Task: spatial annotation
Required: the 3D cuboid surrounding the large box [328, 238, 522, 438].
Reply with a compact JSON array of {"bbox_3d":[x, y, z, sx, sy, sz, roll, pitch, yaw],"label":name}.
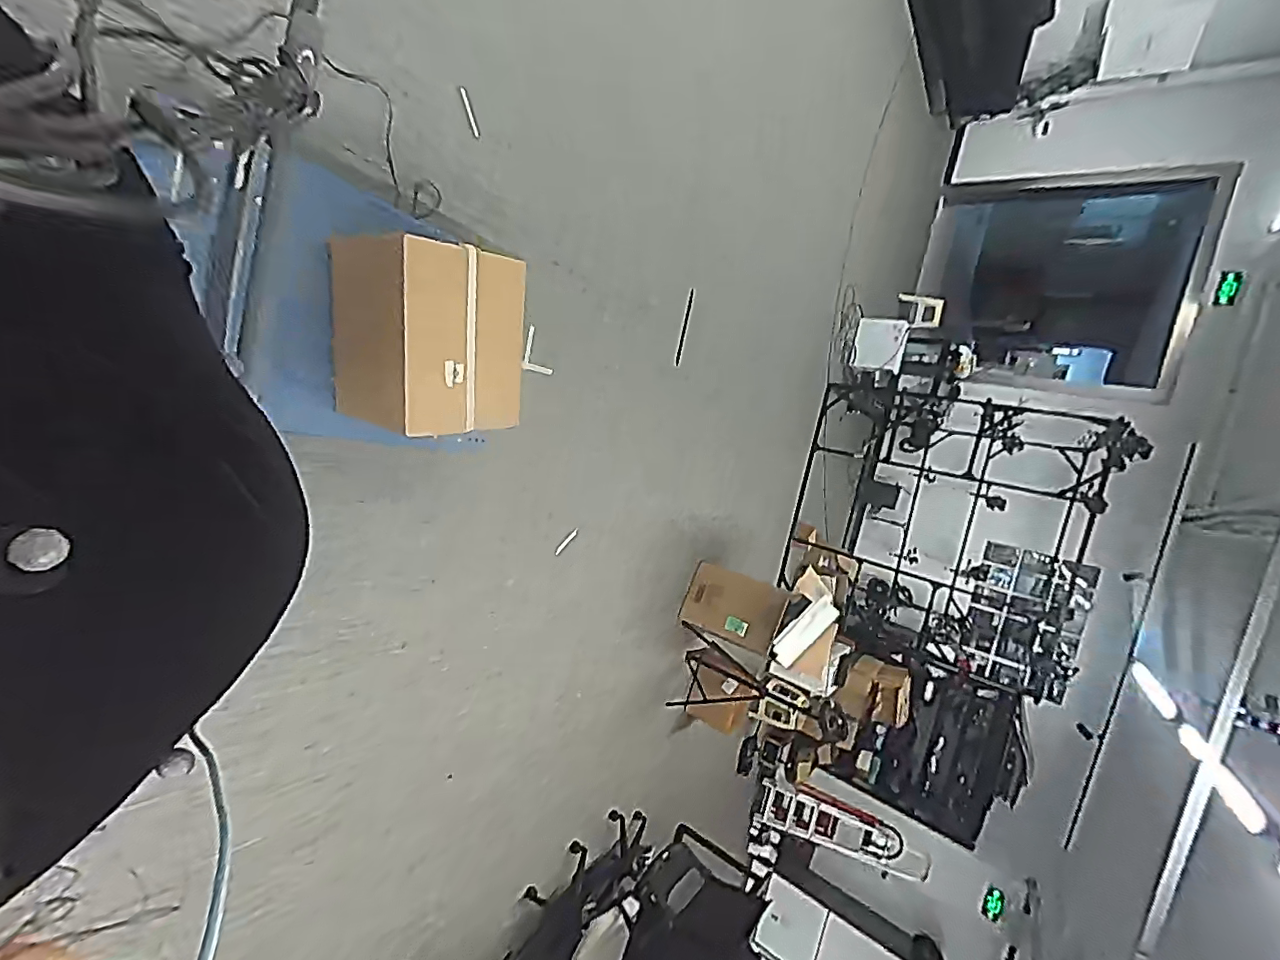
[{"bbox_3d":[-0.507,-0.338,1.291,0.320,0.320,0.408,-13,114,-52],"label":"large box"}]
